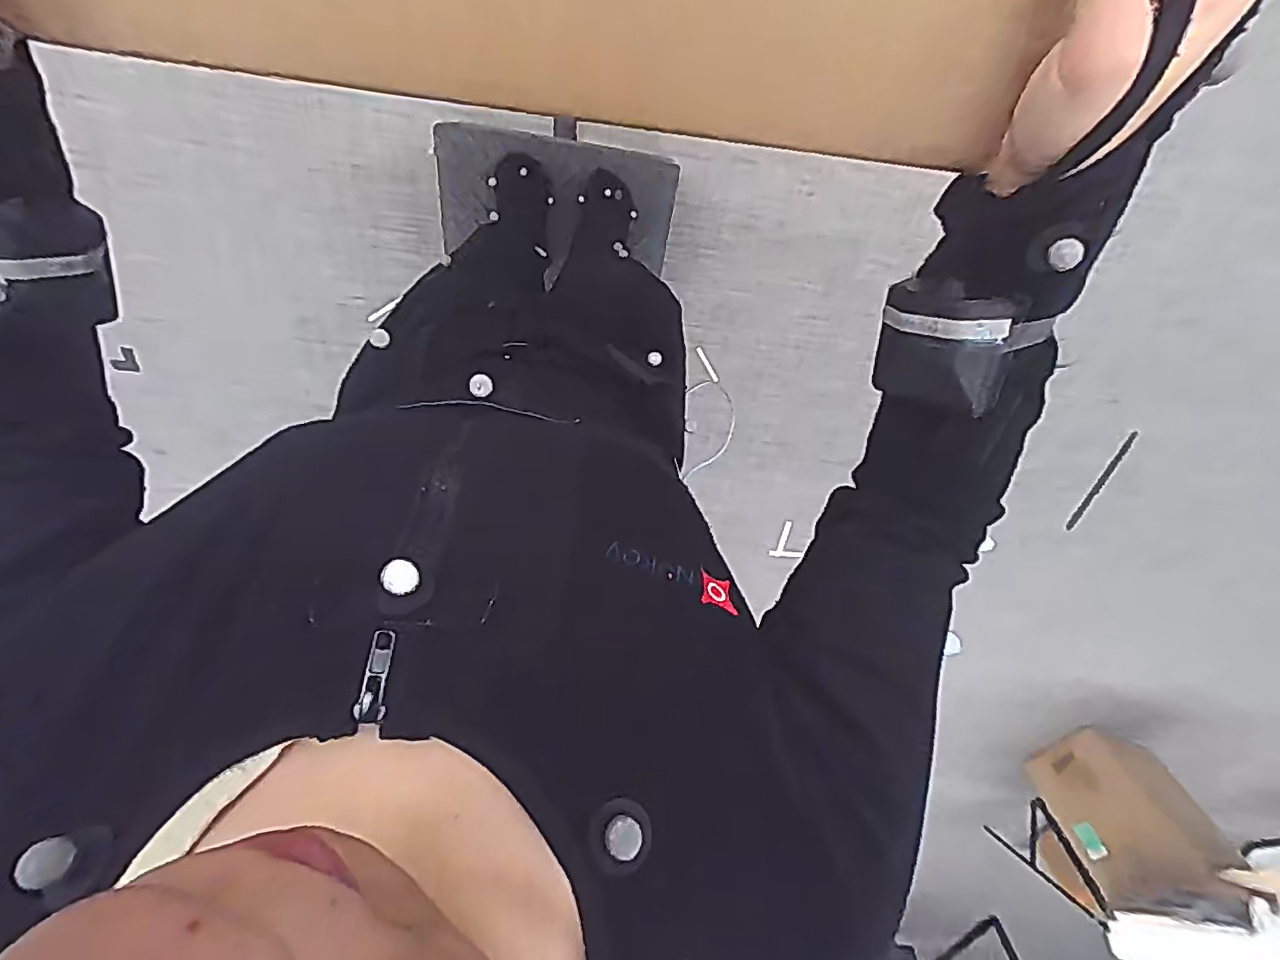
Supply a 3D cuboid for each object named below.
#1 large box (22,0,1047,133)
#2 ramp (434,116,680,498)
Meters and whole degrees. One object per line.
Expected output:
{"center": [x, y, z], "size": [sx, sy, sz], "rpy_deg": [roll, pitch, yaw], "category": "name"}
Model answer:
{"center": [-0.029, -0.380, 0.213], "size": [0.408, 0.320, 0.320], "rpy_deg": [4, 140, -5], "category": "large box"}
{"center": [-0.230, -0.322, 1.401], "size": [0.509, 0.206, 0.991], "rpy_deg": [5, 124, -6], "category": "ramp"}
